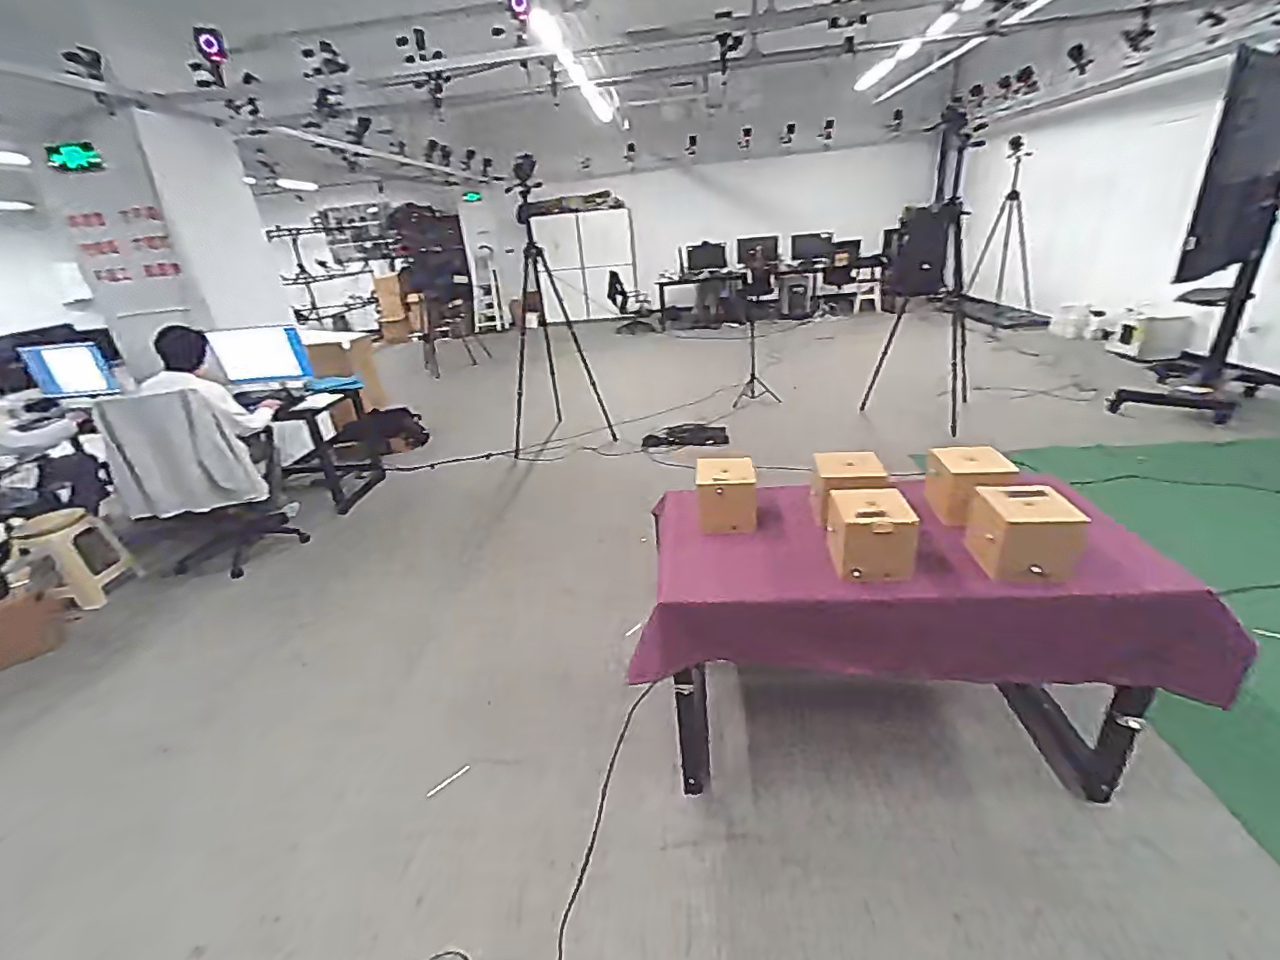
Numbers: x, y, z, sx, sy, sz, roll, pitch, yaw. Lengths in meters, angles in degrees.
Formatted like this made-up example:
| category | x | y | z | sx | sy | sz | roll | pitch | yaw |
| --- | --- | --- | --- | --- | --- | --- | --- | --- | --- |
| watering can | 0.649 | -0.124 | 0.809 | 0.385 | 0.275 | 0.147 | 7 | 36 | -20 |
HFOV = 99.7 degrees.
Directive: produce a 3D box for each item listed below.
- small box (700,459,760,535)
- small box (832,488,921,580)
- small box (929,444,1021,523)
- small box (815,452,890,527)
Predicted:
| category | x | y | z | sx | sy | sz | roll | pitch | yaw |
| --- | --- | --- | --- | --- | --- | --- | --- | --- | --- |
| small box | 0.264 | 0.050 | 1.604 | 0.168 | 0.176 | 0.179 | -3 | 25 | 8 |
| small box | 0.578 | 0.134 | 1.340 | 0.168 | 0.176 | 0.179 | -2 | 24 | 9 |
| small box | 0.931 | 0.012 | 1.516 | 0.168 | 0.176 | 0.179 | -2 | 24 | 10 |
| small box | 0.607 | 0.029 | 1.565 | 0.179 | 0.176 | 0.168 | -2 | 26 | 10 |
